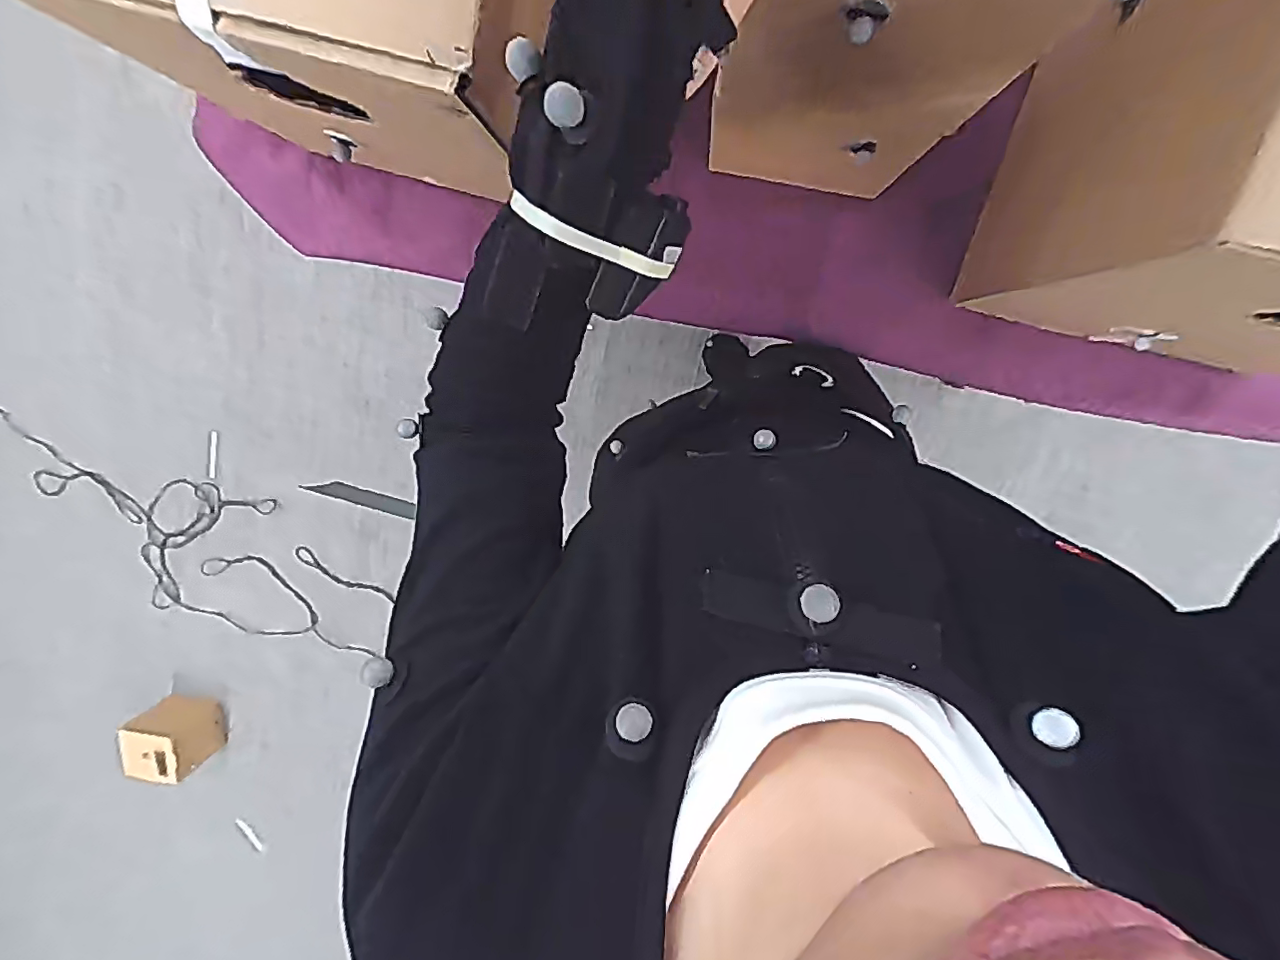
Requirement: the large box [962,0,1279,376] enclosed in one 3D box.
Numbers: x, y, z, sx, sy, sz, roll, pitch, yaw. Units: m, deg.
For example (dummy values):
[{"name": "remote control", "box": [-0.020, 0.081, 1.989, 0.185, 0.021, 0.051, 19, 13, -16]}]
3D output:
[{"name": "large box", "box": [0.497, -0.296, 0.361, 0.320, 0.320, 0.408, 14, 103, 2]}]
